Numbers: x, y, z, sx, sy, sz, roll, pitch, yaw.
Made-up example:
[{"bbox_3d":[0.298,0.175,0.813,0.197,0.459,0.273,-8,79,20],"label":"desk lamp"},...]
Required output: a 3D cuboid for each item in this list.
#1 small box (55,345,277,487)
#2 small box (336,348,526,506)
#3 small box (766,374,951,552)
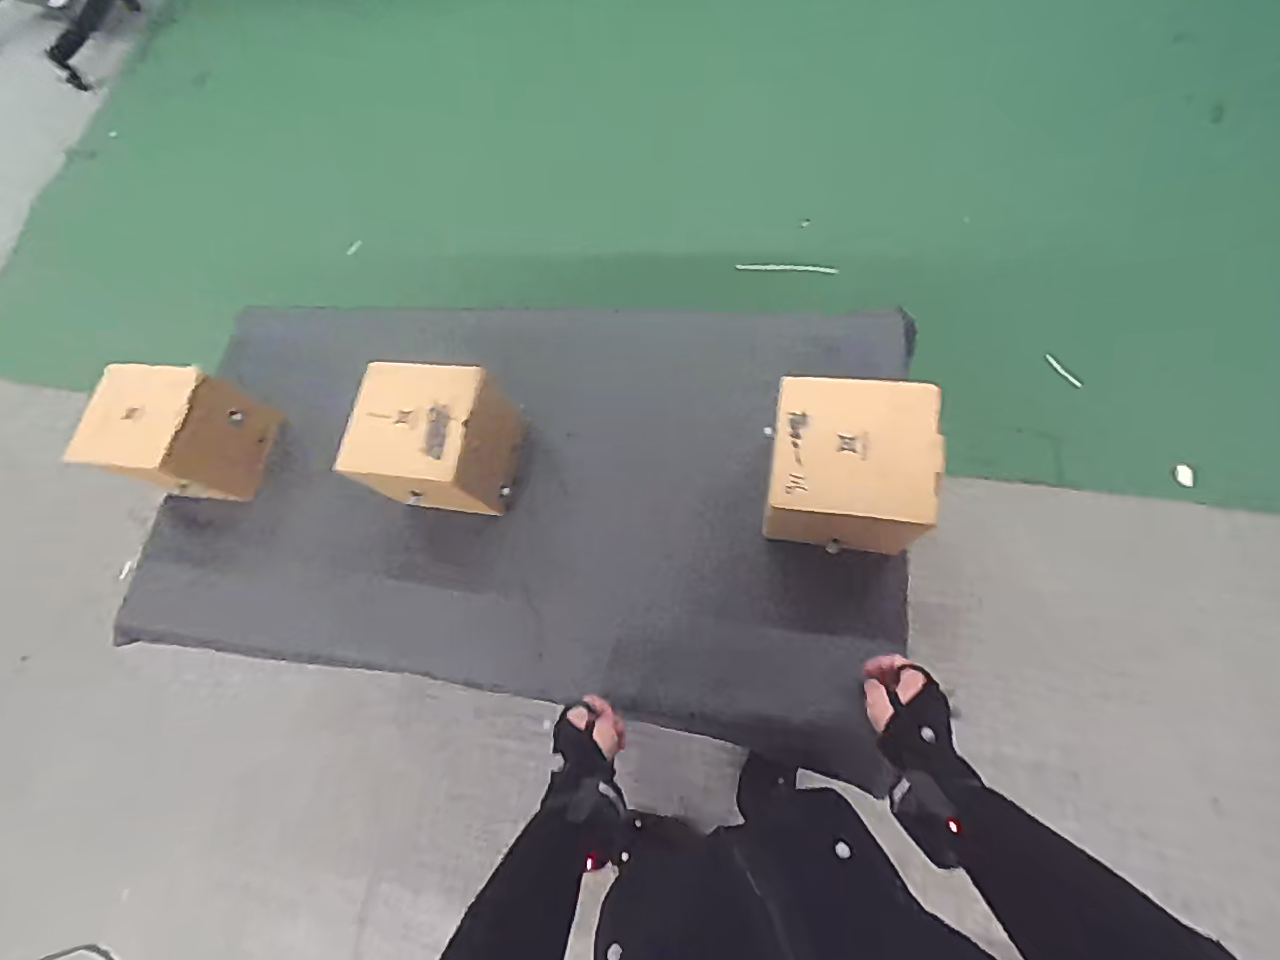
[{"bbox_3d":[-0.730,-0.094,0.857,0.179,0.176,0.168,5,70,11],"label":"small box"},{"bbox_3d":[-0.285,-0.069,0.781,0.179,0.176,0.168,7,72,12],"label":"small box"},{"bbox_3d":[0.262,-0.012,0.677,0.179,0.176,0.168,8,72,11],"label":"small box"}]
